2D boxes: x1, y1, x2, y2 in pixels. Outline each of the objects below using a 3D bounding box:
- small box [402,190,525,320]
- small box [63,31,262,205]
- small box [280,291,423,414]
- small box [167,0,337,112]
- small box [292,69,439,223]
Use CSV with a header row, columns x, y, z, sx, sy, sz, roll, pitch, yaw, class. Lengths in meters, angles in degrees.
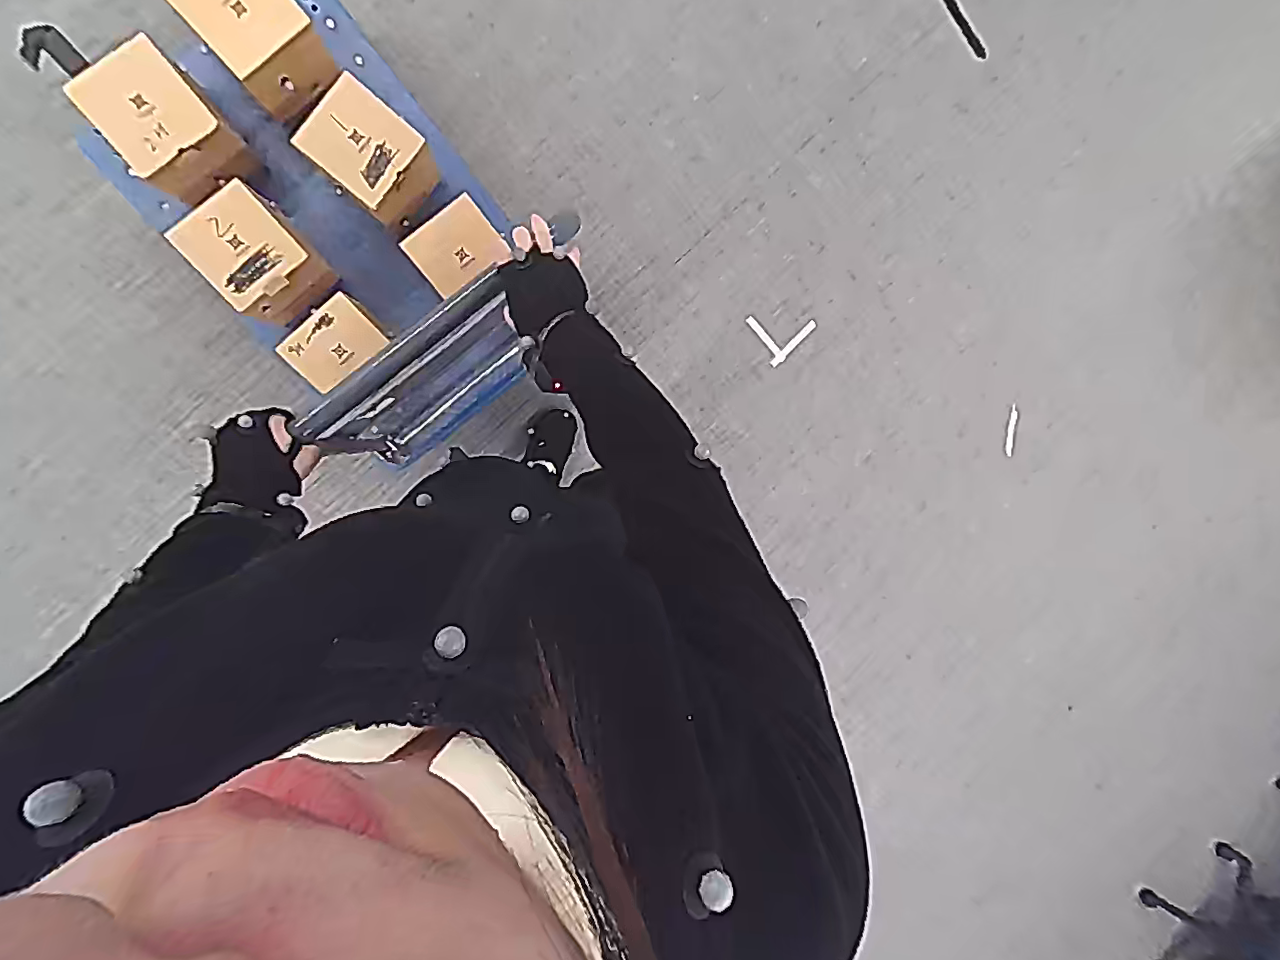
x,y,z,sx,sy,sz,roll,pitch,yaw,class
-0.354,-0.454,1.127,0.168,0.176,0.179,-40,103,-3,small box
-0.860,-0.650,0.997,0.168,0.176,0.179,-39,104,-3,small box
-0.576,-0.256,1.112,0.168,0.176,0.179,-44,104,-3,small box
-0.707,-0.829,1.002,0.168,0.176,0.179,-43,104,-2,small box
-0.525,-0.637,1.065,0.179,0.176,0.168,38,90,-13,small box
